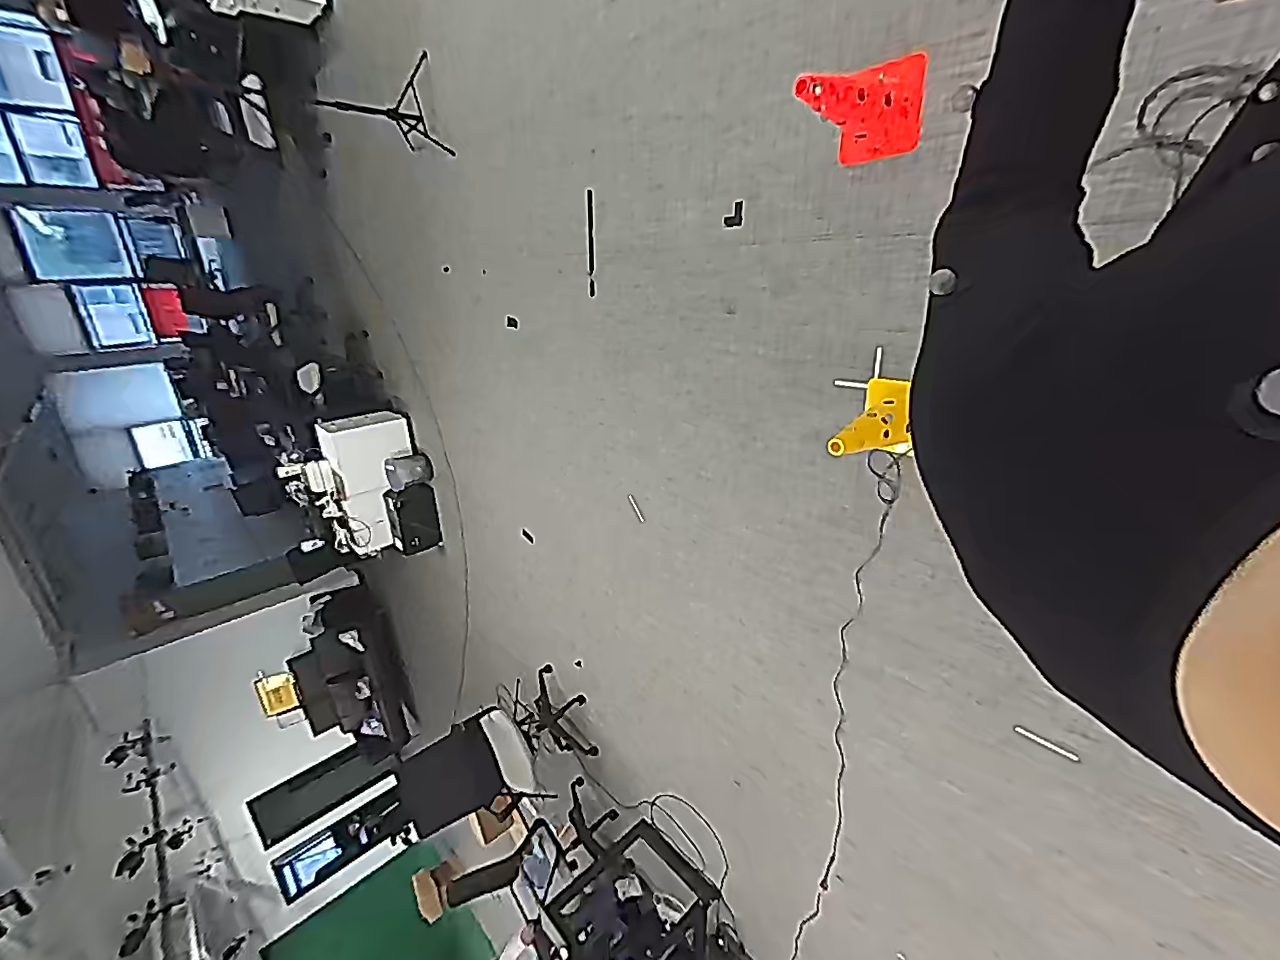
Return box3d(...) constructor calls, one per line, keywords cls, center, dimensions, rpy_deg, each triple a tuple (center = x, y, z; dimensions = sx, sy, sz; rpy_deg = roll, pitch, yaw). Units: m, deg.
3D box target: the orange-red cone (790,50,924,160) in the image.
box3d(cls="orange-red cone", center=(0.452, -0.848, 1.201), dimensions=(0.198, 0.360, 0.199), rpy_deg=(19, 121, 45))
